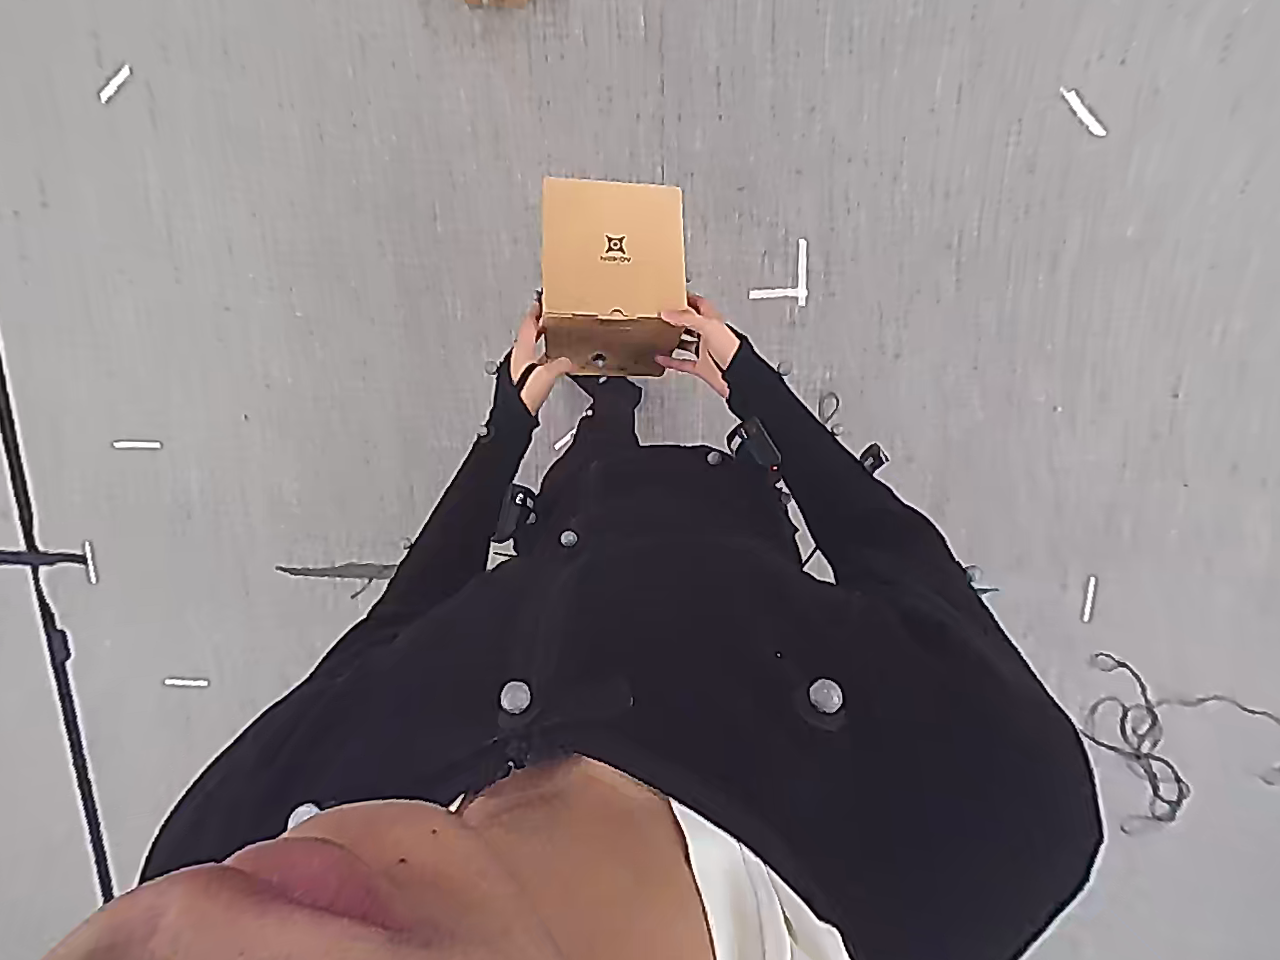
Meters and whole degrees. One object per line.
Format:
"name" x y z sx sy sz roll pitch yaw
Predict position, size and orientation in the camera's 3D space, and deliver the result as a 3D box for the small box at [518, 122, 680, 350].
"small box" -0.054 -0.270 0.631 0.168 0.176 0.179 -1 80 -8
